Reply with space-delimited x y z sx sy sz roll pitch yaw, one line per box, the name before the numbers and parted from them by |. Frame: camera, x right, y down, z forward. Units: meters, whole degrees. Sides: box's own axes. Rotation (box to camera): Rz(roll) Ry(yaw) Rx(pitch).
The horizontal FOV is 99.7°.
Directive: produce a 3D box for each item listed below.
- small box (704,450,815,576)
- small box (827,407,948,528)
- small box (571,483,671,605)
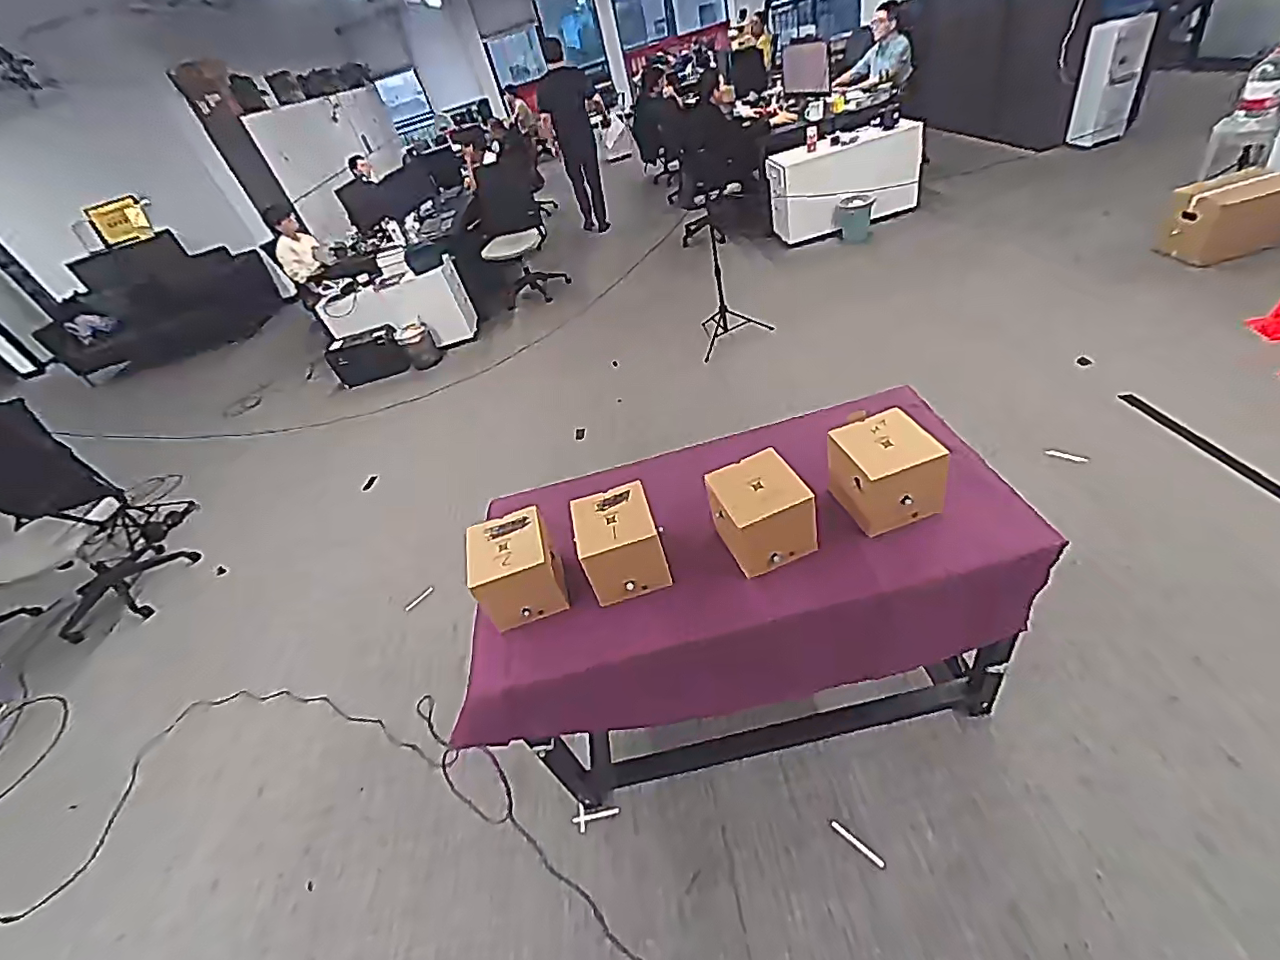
small box | 0.254 0.070 1.147 0.168 0.176 0.179 -23 39 -4
small box | 0.516 -0.019 1.145 0.168 0.176 0.179 -20 39 -2
small box | -0.042 0.140 1.179 0.168 0.176 0.179 -18 40 0
